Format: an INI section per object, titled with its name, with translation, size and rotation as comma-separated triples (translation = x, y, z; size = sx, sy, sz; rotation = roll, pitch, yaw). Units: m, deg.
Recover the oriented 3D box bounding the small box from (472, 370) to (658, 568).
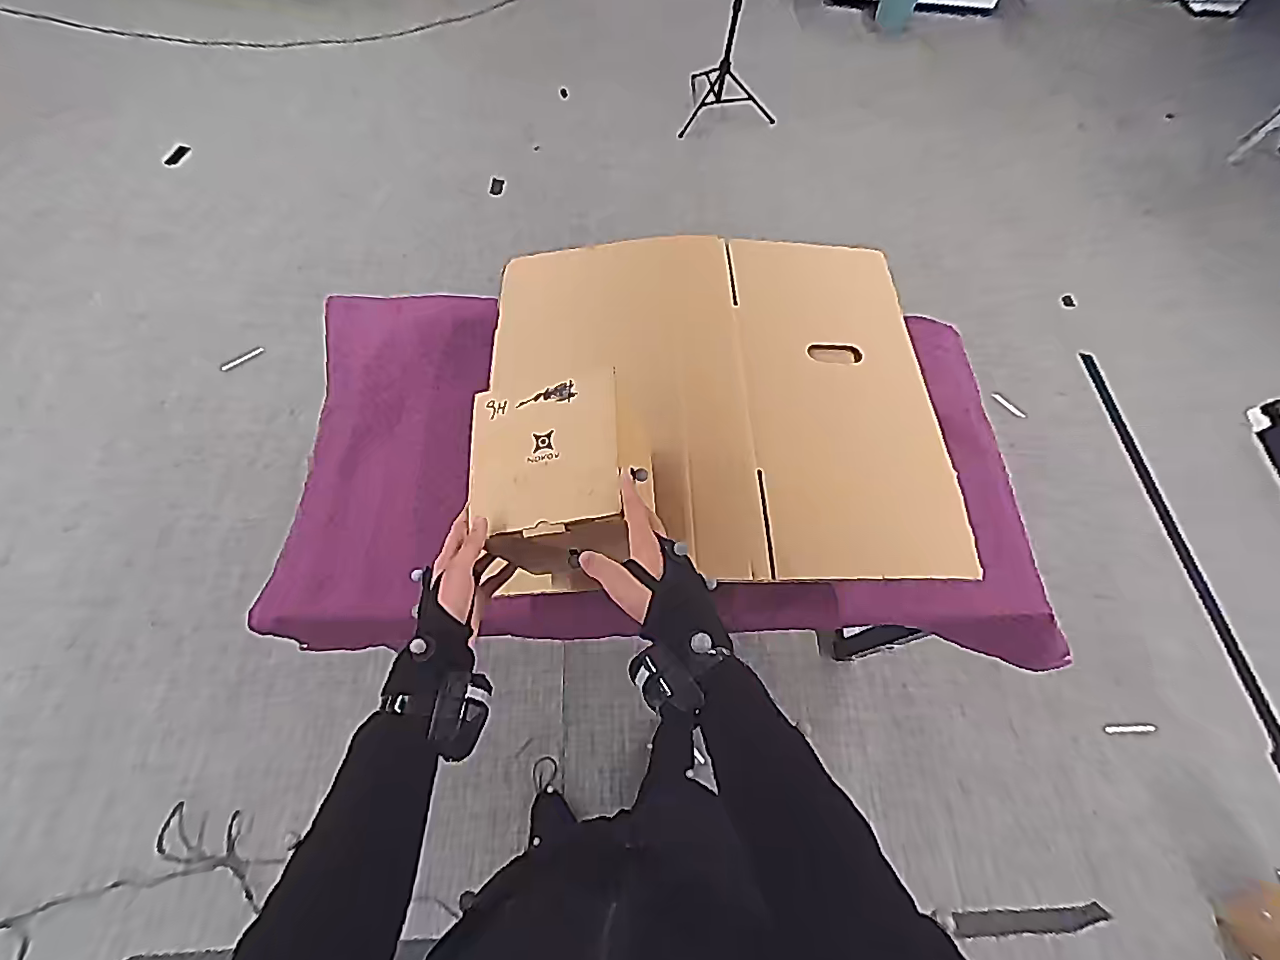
[small box]
translation = -0.079, 0.001, 0.636
size = 0.168, 0.176, 0.179
rotation = -9, 67, 11
